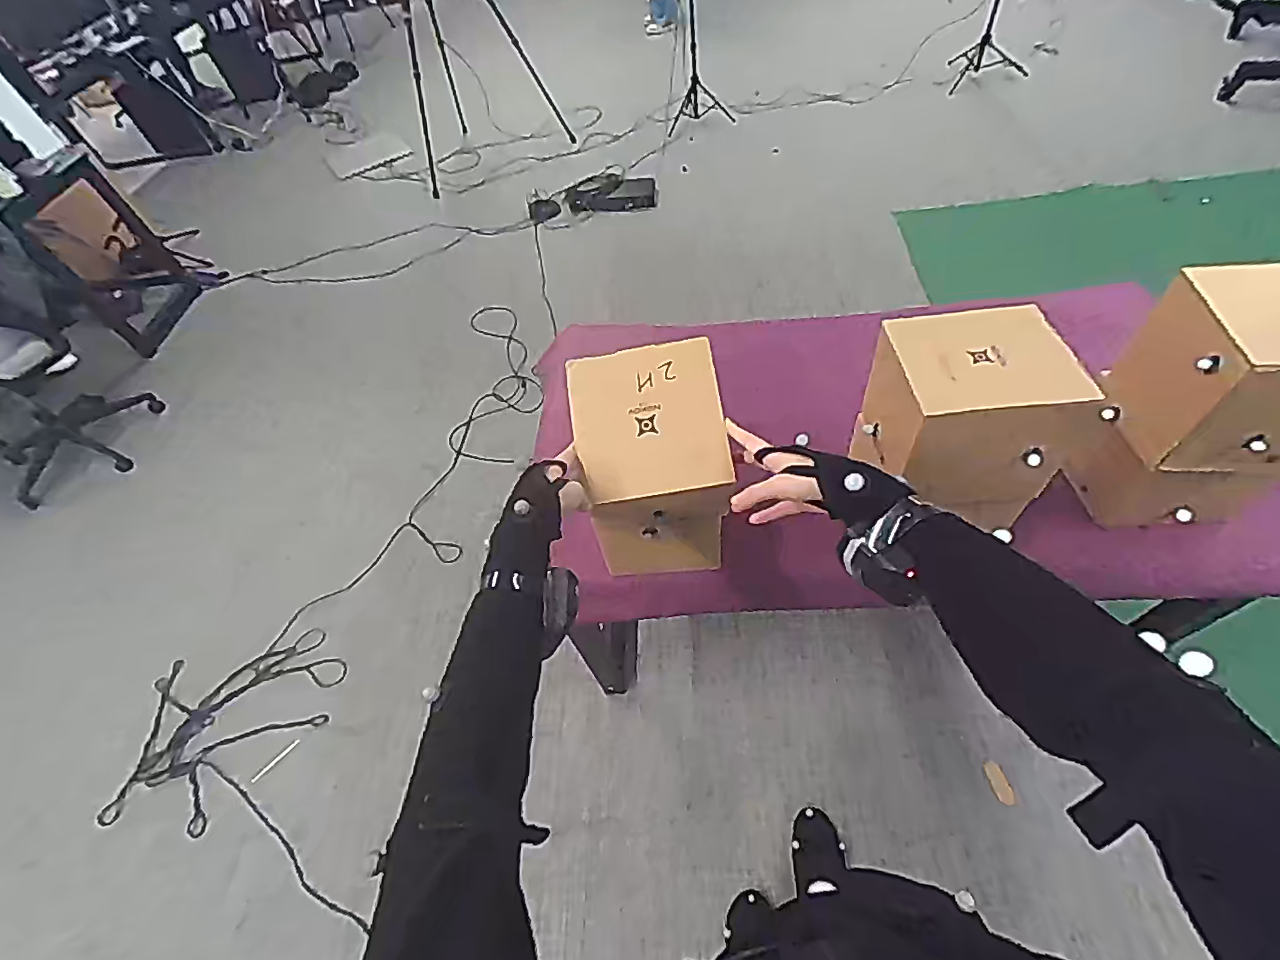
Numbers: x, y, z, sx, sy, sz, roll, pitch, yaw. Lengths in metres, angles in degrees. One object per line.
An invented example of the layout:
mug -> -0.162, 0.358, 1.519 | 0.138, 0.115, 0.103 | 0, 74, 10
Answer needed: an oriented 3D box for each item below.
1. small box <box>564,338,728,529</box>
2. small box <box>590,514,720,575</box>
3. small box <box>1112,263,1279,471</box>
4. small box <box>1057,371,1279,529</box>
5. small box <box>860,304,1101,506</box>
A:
small box -> 0.013, -0.043, 0.664 | 0.168, 0.176, 0.179 | -9, 72, 4
small box -> 0.029, 0.036, 0.834 | 0.179, 0.176, 0.168 | -5, 51, 6
small box -> 0.708, -0.130, 0.629 | 0.168, 0.176, 0.179 | 1, 53, 13
small box -> 0.746, -0.045, 0.767 | 0.179, 0.176, 0.168 | -5, 50, 8
small box -> 0.385, -0.084, 0.653 | 0.179, 0.176, 0.168 | -5, 50, 8
